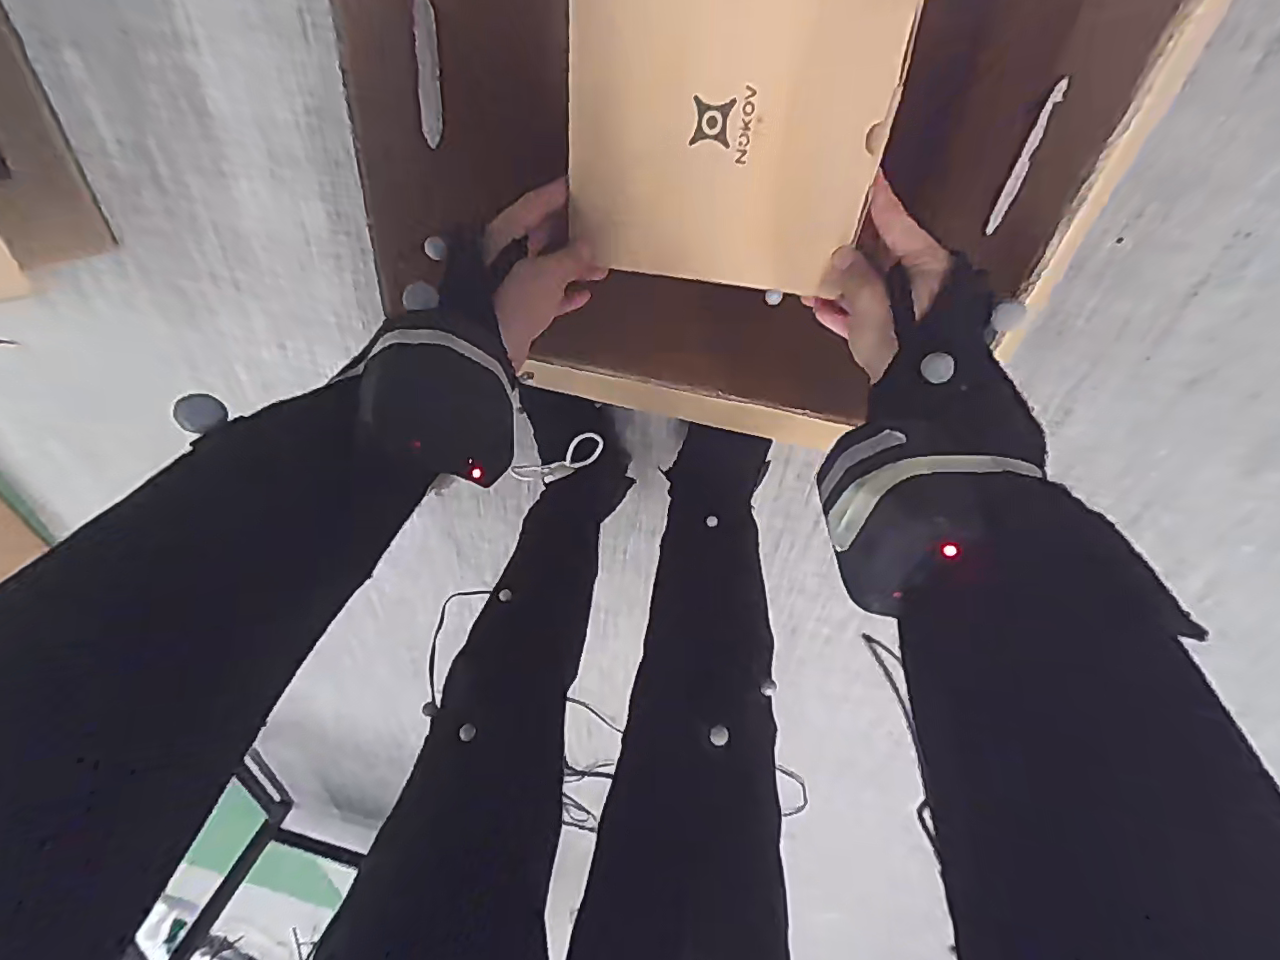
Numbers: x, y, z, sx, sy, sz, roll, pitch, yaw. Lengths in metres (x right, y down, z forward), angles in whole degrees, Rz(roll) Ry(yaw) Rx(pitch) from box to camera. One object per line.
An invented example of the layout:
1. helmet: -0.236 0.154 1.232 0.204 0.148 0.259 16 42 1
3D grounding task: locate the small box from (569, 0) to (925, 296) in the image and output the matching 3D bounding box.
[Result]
1. small box: 0.063 -0.235 0.361 0.179 0.176 0.168 10 123 8
